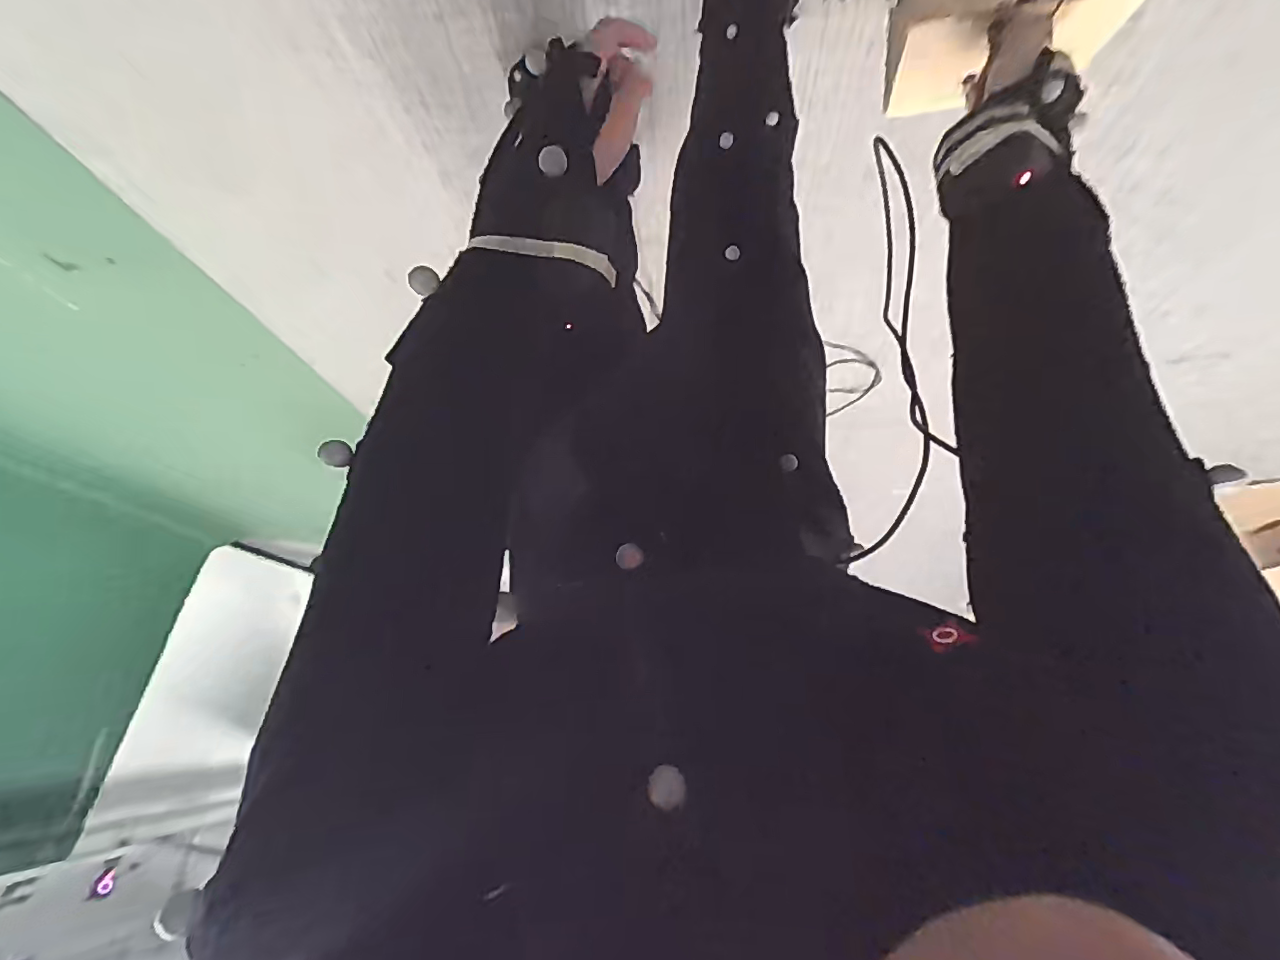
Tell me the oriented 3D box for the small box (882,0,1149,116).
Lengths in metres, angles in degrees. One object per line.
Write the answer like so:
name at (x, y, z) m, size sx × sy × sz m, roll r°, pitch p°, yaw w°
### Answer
small box at (0.308, -0.447, 0.457) m, size 0.168 × 0.179 × 0.176 m, roll 2°, pitch -166°, yaw 16°
